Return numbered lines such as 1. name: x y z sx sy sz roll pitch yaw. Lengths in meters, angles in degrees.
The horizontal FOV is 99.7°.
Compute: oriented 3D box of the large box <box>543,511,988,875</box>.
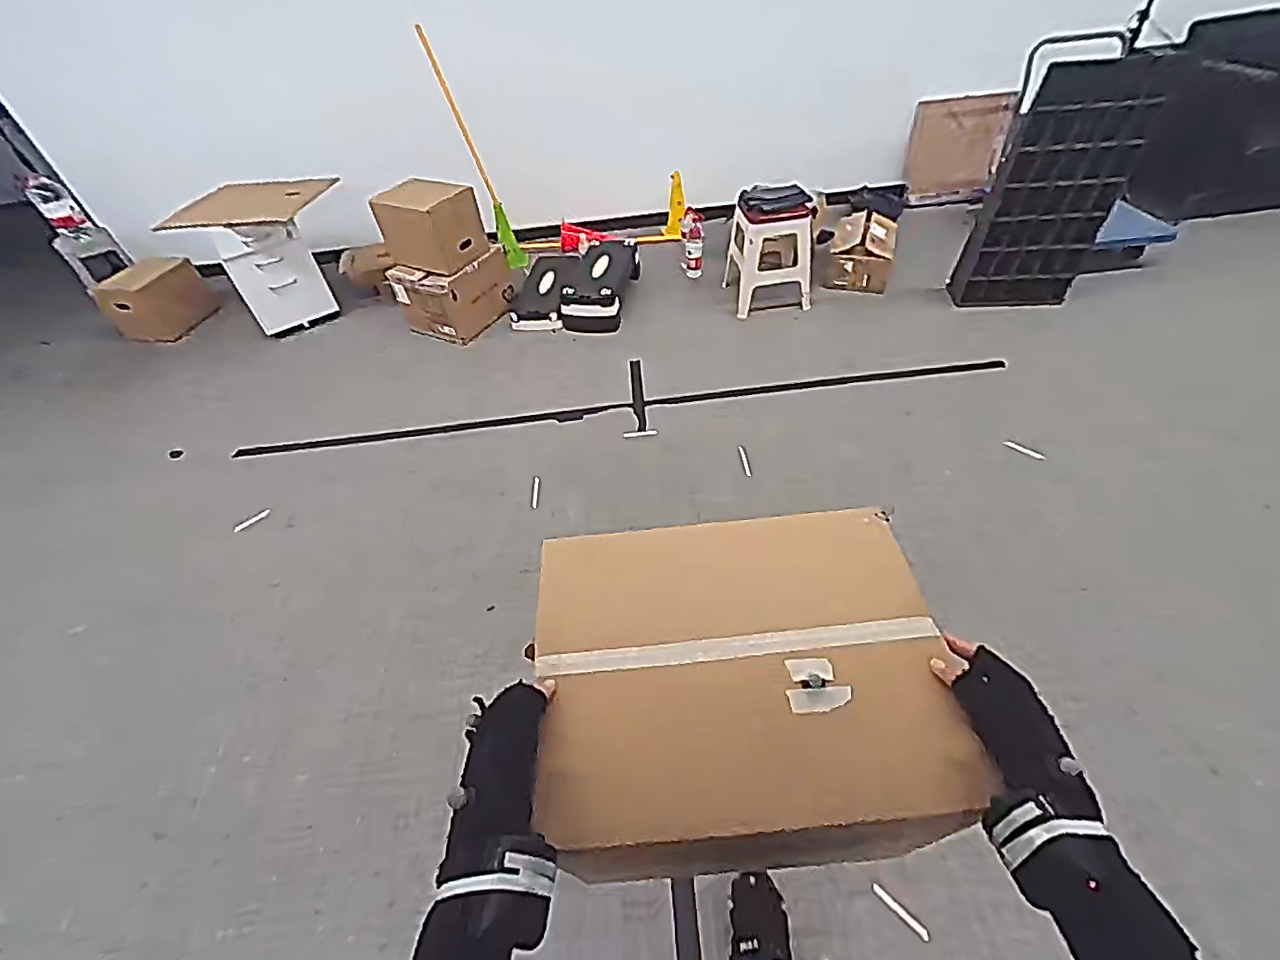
1. large box: 0.106 0.272 0.679 0.408 0.320 0.320 -6 50 0
